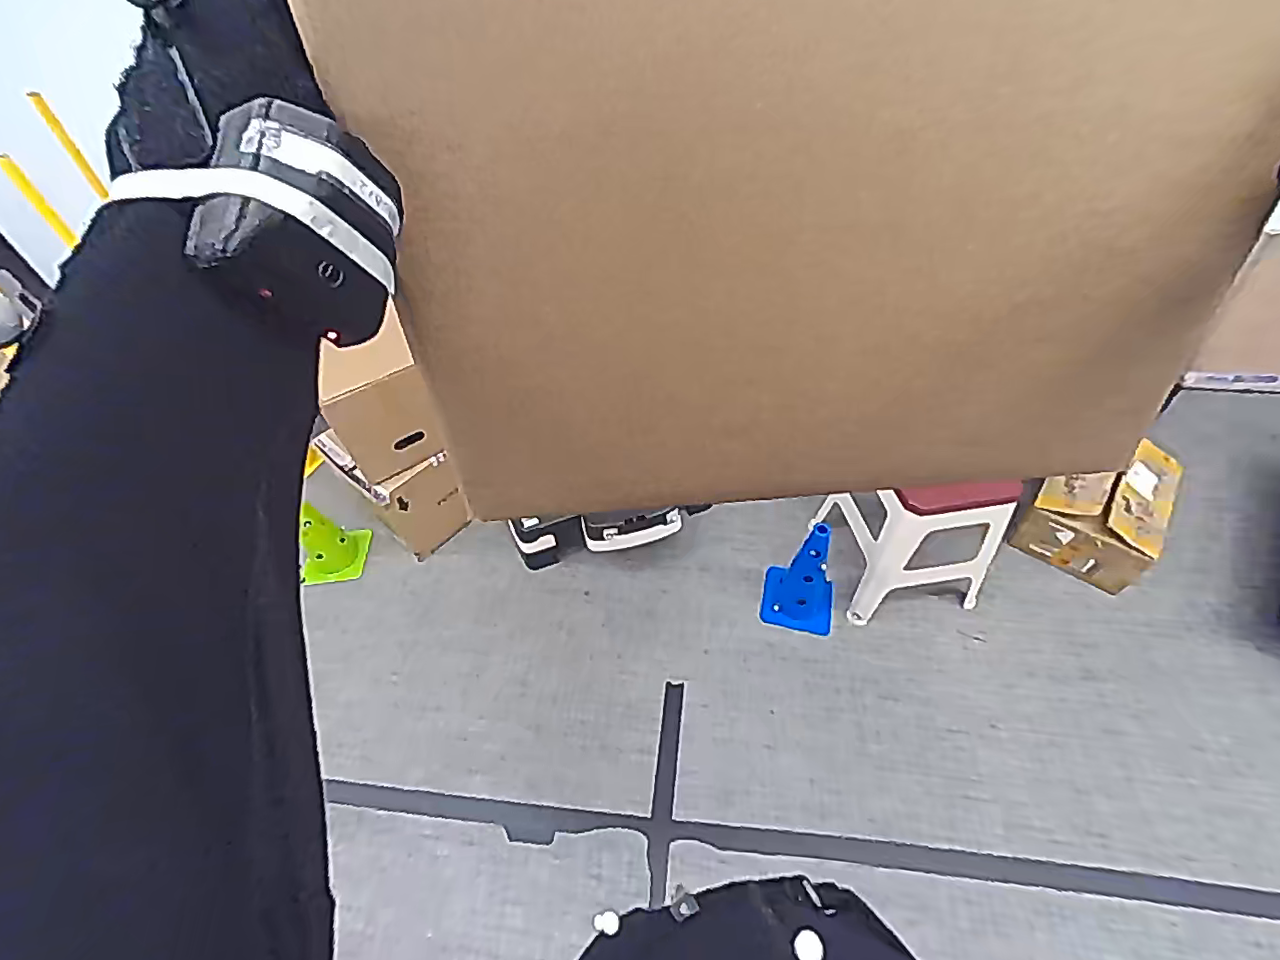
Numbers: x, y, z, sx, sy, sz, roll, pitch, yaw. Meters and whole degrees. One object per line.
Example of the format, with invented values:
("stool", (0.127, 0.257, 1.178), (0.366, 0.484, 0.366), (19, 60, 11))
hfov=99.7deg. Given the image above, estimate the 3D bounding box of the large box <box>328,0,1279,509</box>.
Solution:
("large box", (0.075, -0.203, 0.375), (0.408, 0.320, 0.320), (-5, 37, 0))
